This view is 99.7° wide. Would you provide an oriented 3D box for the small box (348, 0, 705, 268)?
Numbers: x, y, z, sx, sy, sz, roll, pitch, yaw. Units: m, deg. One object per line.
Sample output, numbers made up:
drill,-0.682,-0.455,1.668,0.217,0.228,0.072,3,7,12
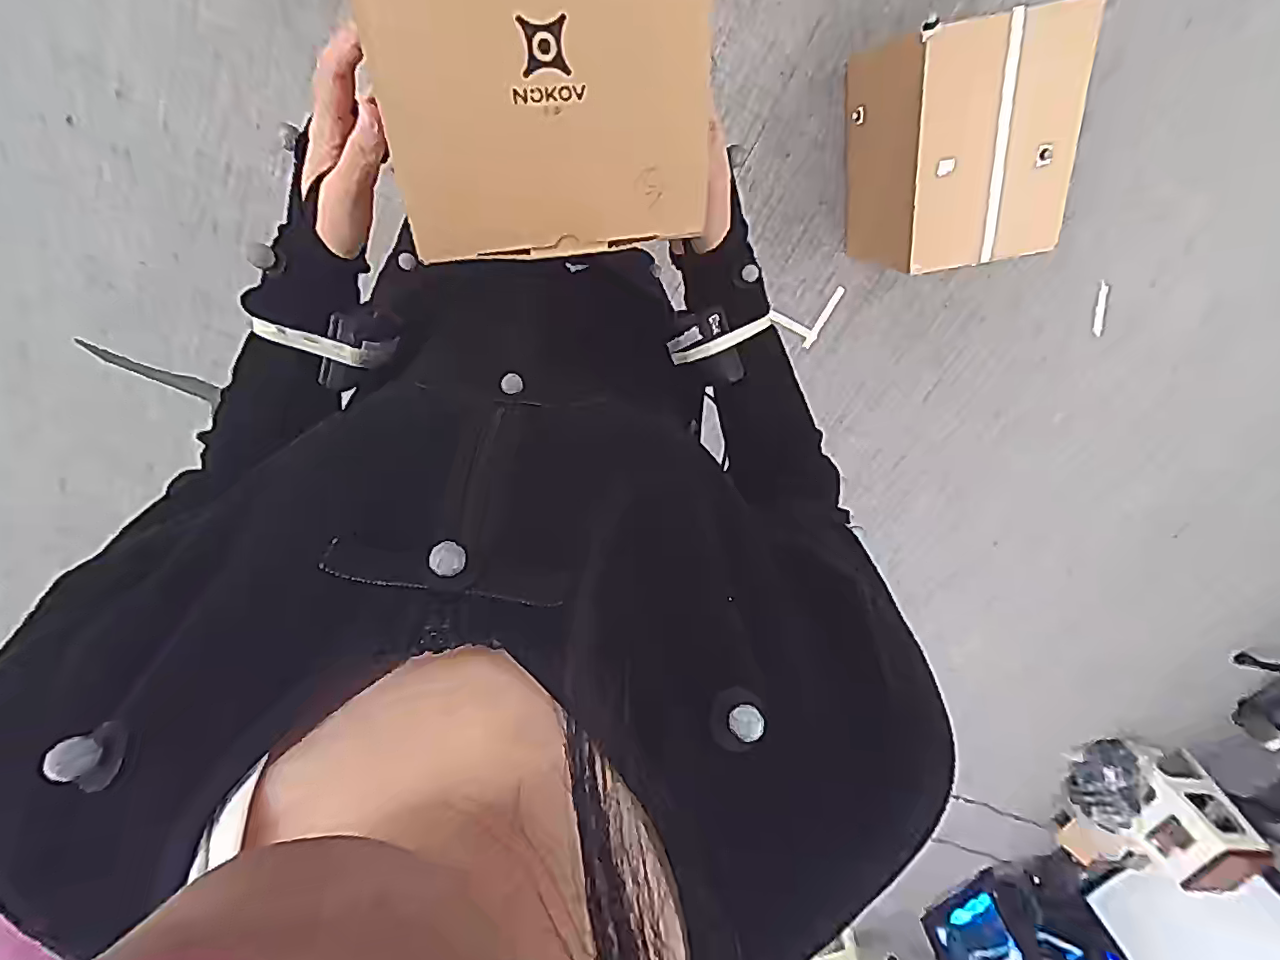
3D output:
small box,-0.065,-0.246,0.328,0.168,0.176,0.179,-11,125,-9
